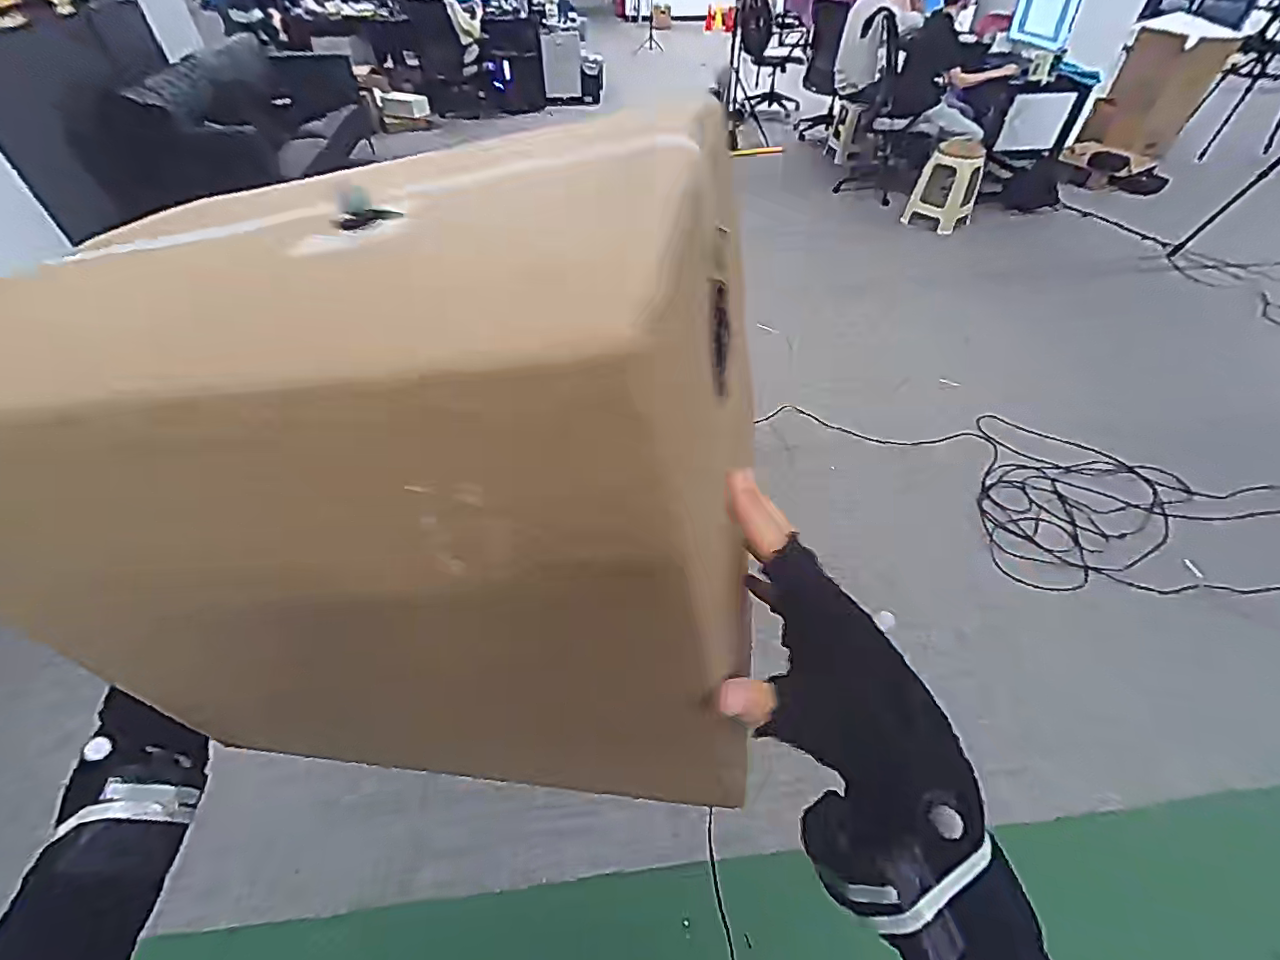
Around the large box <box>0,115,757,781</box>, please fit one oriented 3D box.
[{"bbox_3d":[-0.131,-0.017,0.390,0.408,0.320,0.320,-2,43,15],"label":"large box"}]
